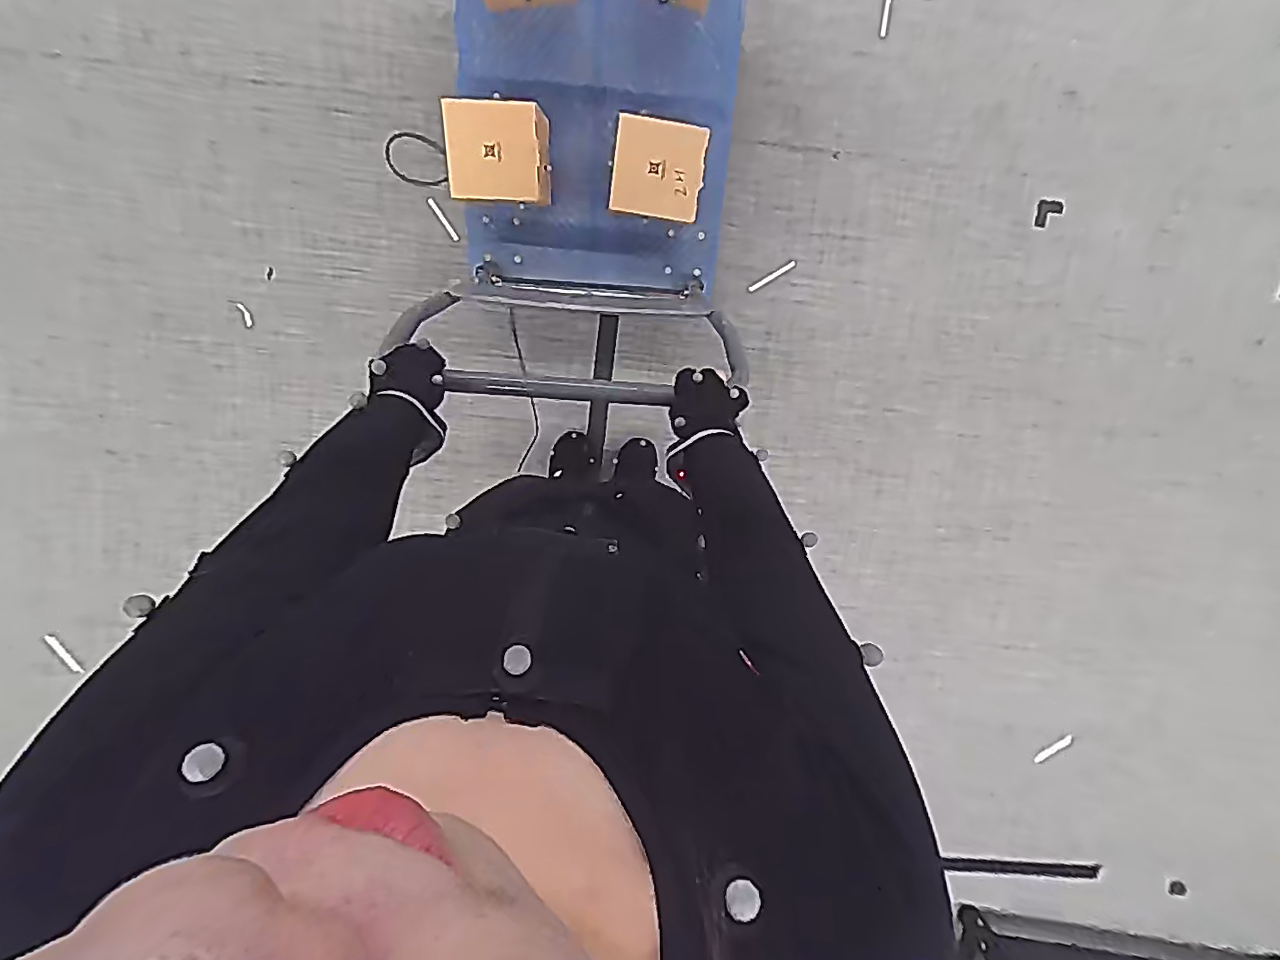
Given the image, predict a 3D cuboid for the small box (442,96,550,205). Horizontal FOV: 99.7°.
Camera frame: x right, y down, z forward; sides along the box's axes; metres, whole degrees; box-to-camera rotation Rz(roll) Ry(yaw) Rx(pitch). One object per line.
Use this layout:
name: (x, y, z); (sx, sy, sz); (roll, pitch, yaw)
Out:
small box: (-0.281, -0.657, 1.094); (0.179, 0.176, 0.168); (0, 113, -3)

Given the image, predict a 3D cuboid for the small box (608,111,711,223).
small box: (0.035, -0.632, 1.112); (0.179, 0.176, 0.168); (8, 114, -4)
